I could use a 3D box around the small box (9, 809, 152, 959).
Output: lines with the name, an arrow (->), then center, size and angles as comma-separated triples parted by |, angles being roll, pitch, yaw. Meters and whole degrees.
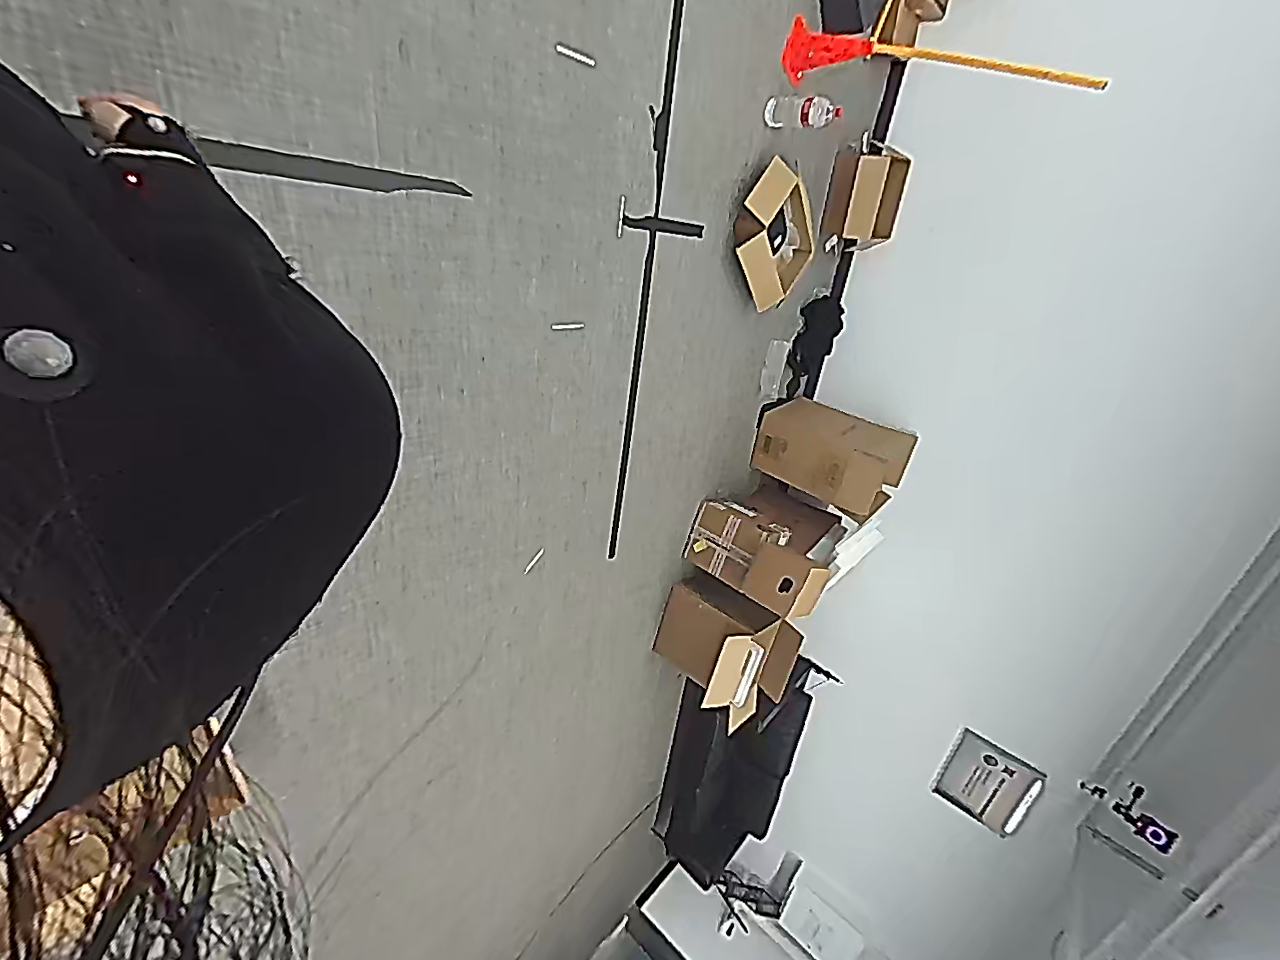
small box -> -1.215, 0.871, 1.179 | 0.168, 0.176, 0.179 | -26, 132, -43
